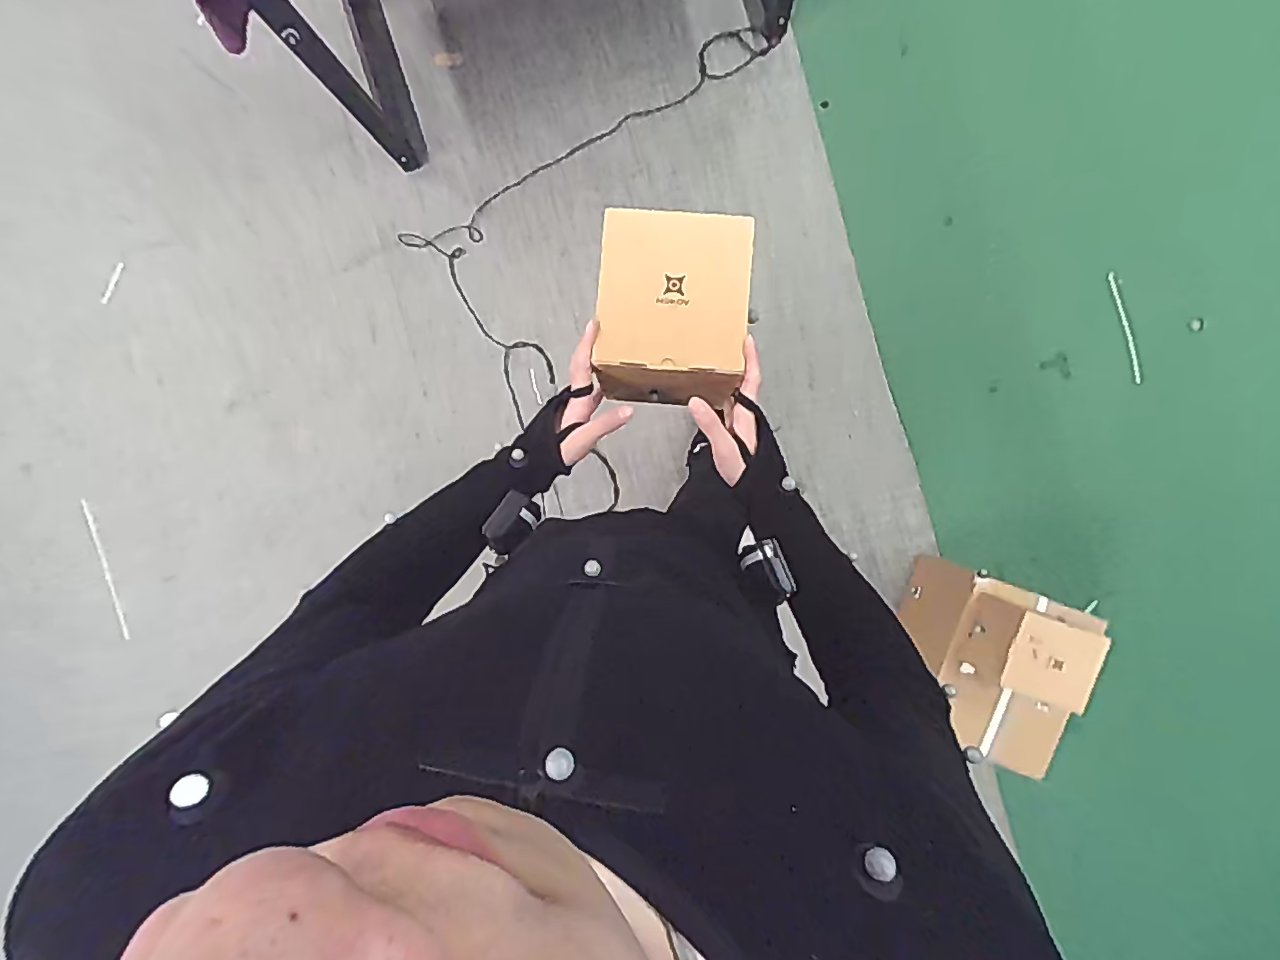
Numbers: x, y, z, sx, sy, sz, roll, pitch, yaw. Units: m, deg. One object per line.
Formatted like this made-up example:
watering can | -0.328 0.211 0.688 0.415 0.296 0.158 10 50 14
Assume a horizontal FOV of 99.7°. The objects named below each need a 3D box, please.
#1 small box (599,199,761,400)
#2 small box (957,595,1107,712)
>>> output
small box | 0.043 -0.206 0.657 0.168 0.176 0.179 4 87 1
small box | 0.838 0.365 1.174 0.179 0.176 0.168 19 93 4
